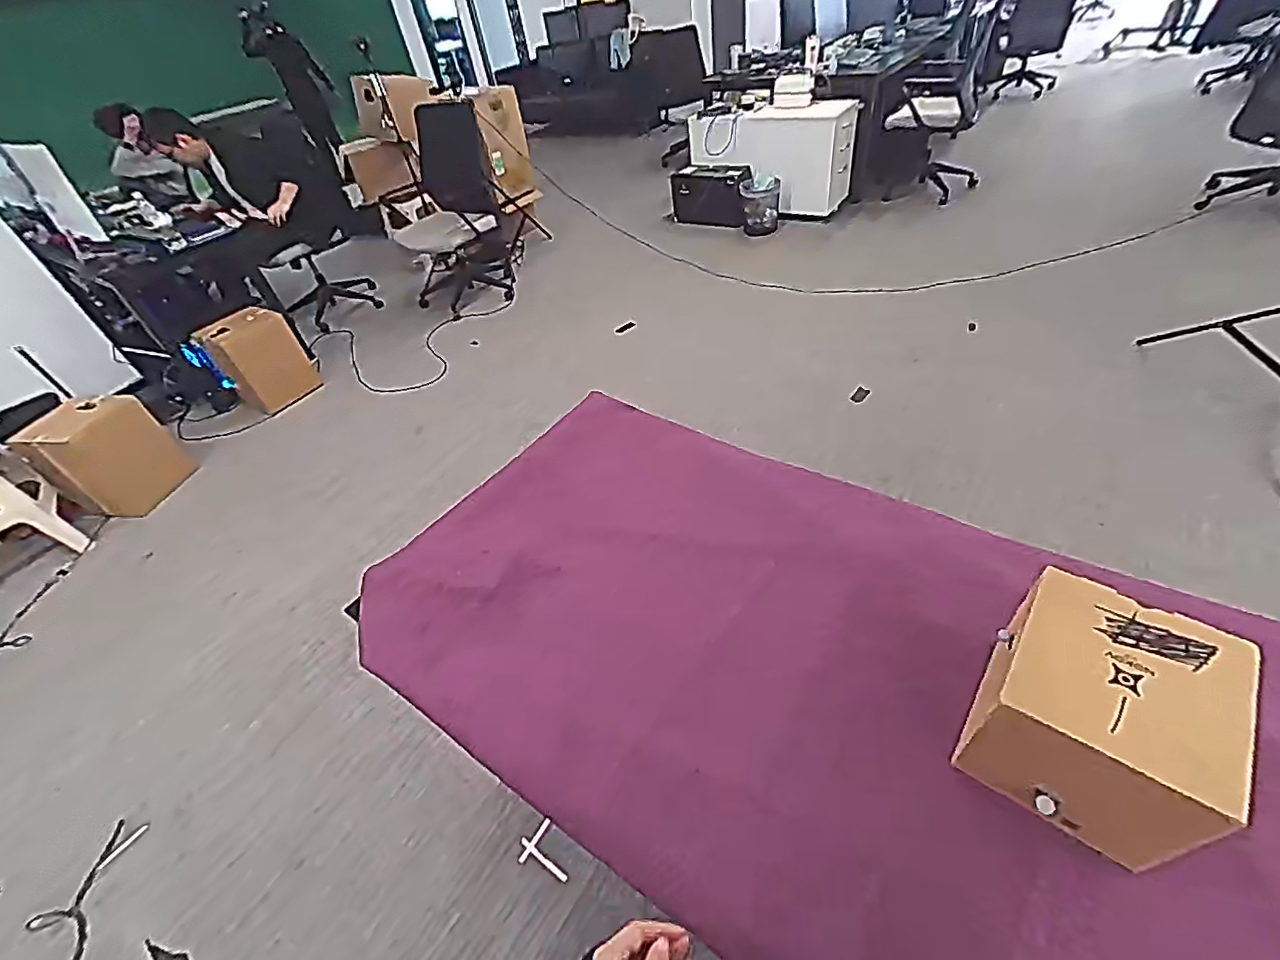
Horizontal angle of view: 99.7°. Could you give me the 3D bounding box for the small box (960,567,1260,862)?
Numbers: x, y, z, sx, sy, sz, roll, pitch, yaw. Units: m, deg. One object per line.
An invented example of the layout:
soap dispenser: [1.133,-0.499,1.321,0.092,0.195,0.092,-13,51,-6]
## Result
small box: [0.446,0.227,0.535,0.168,0.176,0.179,25,54,32]
